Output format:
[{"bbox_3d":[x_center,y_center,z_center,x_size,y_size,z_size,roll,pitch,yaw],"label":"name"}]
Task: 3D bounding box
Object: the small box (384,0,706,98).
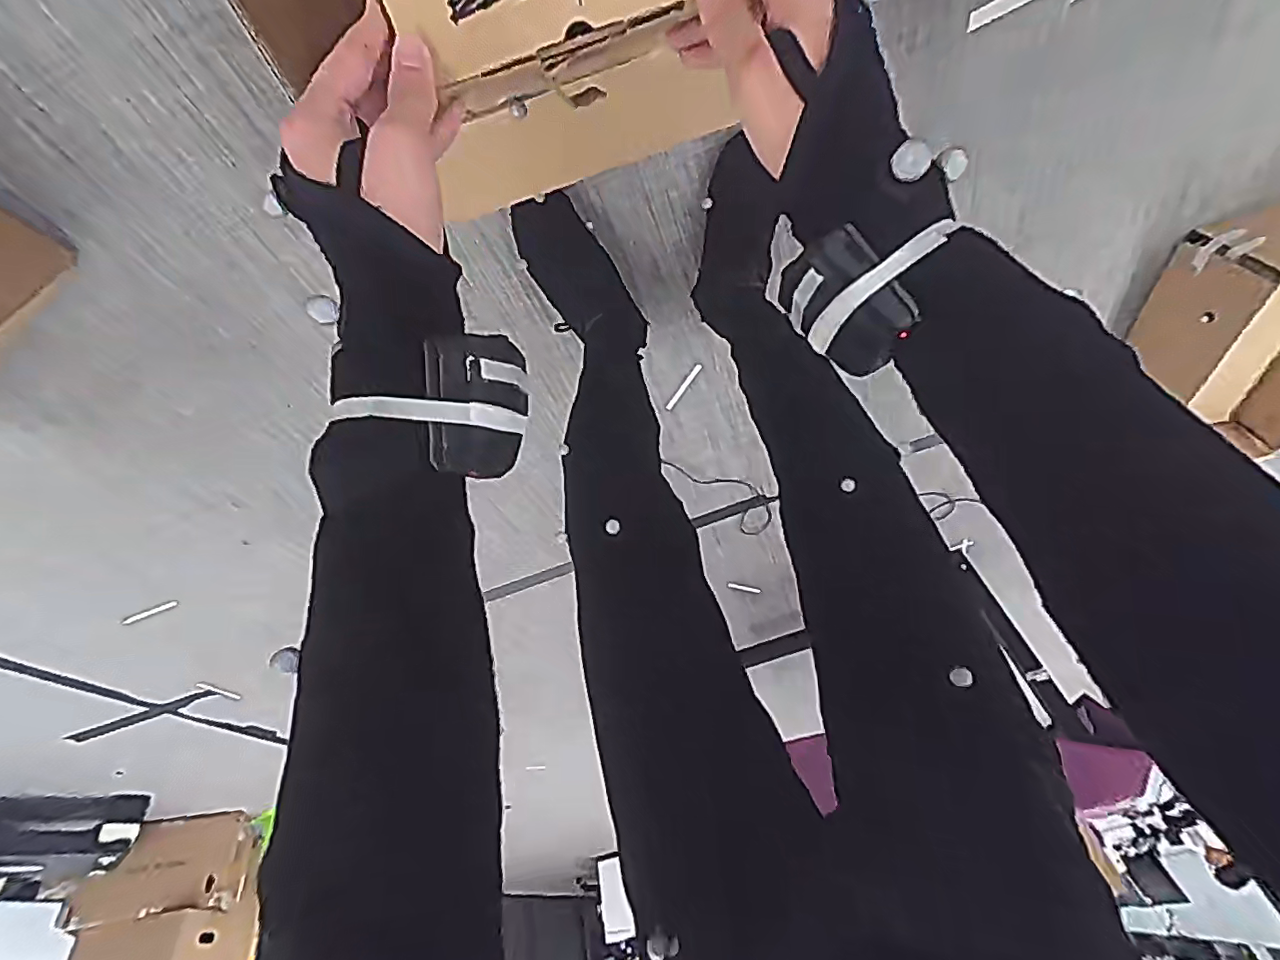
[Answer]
[{"bbox_3d":[-0.060,-0.325,0.283,0.168,0.176,0.179,-17,122,4],"label":"small box"}]
